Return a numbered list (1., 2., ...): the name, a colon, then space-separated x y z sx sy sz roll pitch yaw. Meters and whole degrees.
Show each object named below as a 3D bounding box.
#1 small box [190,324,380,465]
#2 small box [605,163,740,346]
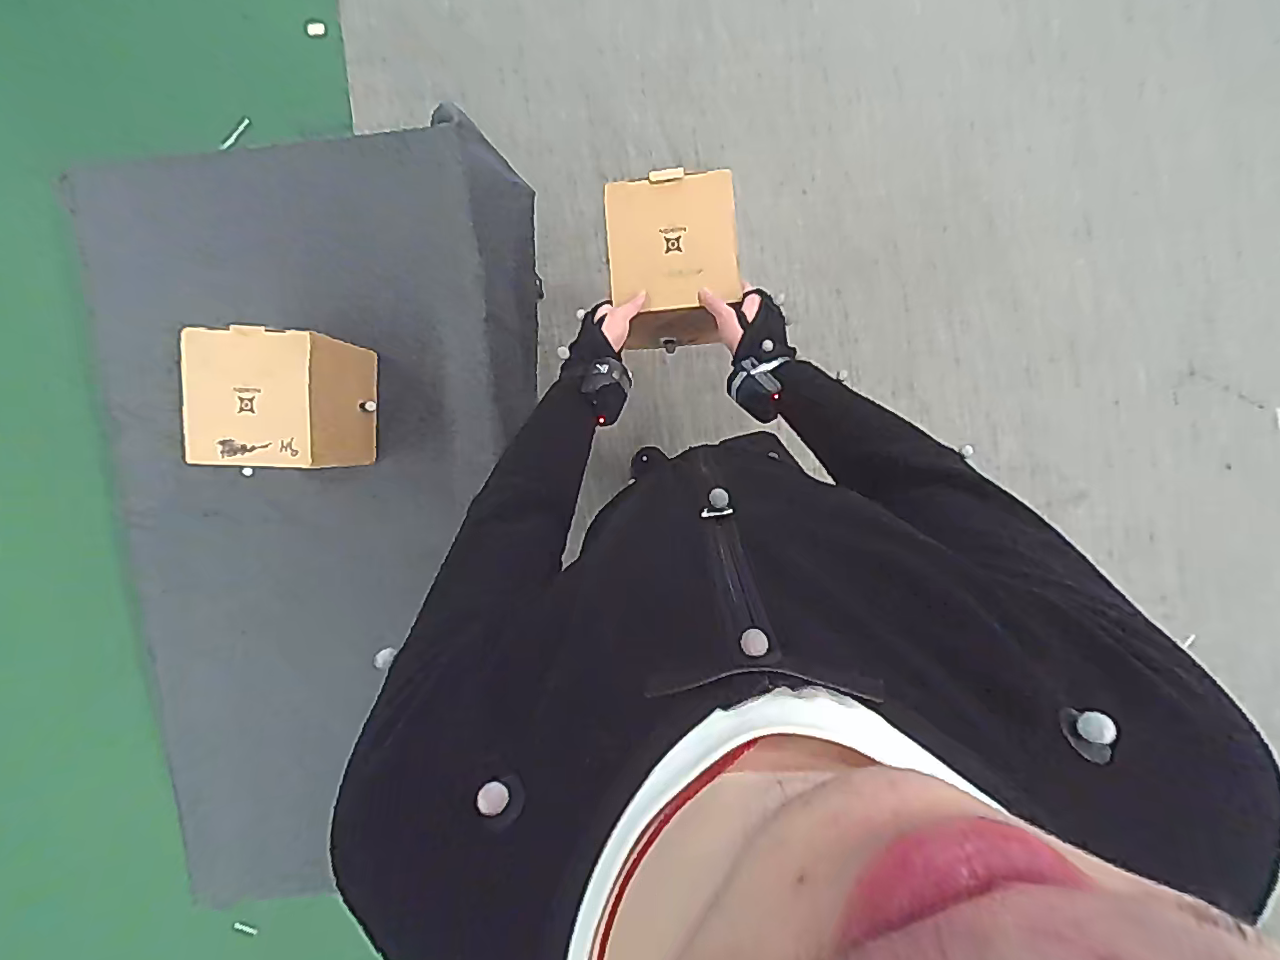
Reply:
1. small box: -0.492 -0.113 0.772 0.168 0.176 0.179 3 93 1
2. small box: 0.044 -0.297 0.744 0.168 0.176 0.179 -3 87 5
